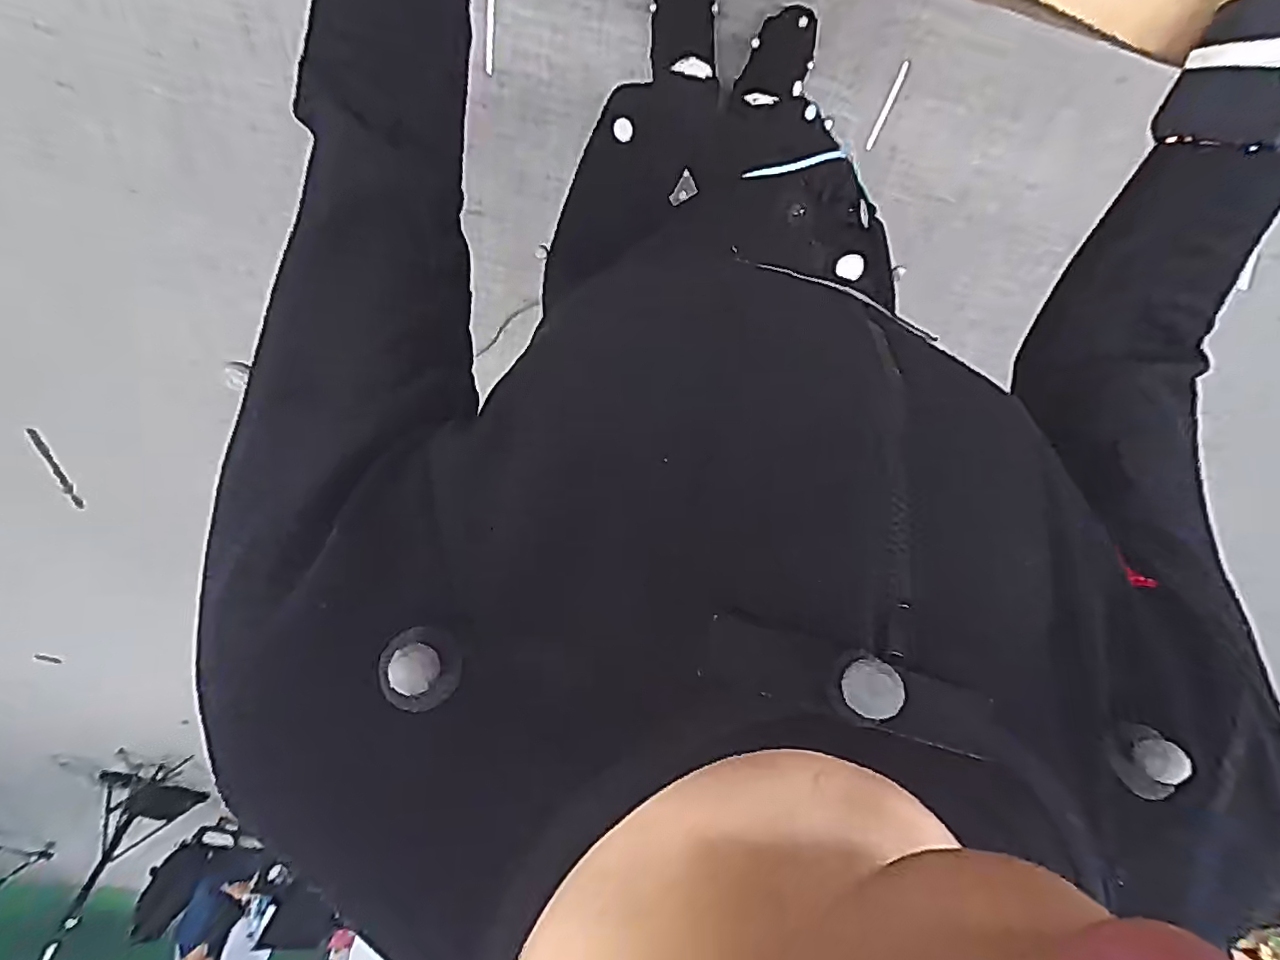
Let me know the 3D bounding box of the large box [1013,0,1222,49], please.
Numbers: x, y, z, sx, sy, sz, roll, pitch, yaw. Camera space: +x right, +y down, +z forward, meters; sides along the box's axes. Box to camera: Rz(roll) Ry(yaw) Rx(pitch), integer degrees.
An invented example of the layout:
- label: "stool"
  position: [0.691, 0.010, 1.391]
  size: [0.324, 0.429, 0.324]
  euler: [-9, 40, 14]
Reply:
- label: "large box"
  position: [0.175, -0.500, 0.272]
  size: [0.408, 0.320, 0.320]
  euler: [14, 138, -11]
